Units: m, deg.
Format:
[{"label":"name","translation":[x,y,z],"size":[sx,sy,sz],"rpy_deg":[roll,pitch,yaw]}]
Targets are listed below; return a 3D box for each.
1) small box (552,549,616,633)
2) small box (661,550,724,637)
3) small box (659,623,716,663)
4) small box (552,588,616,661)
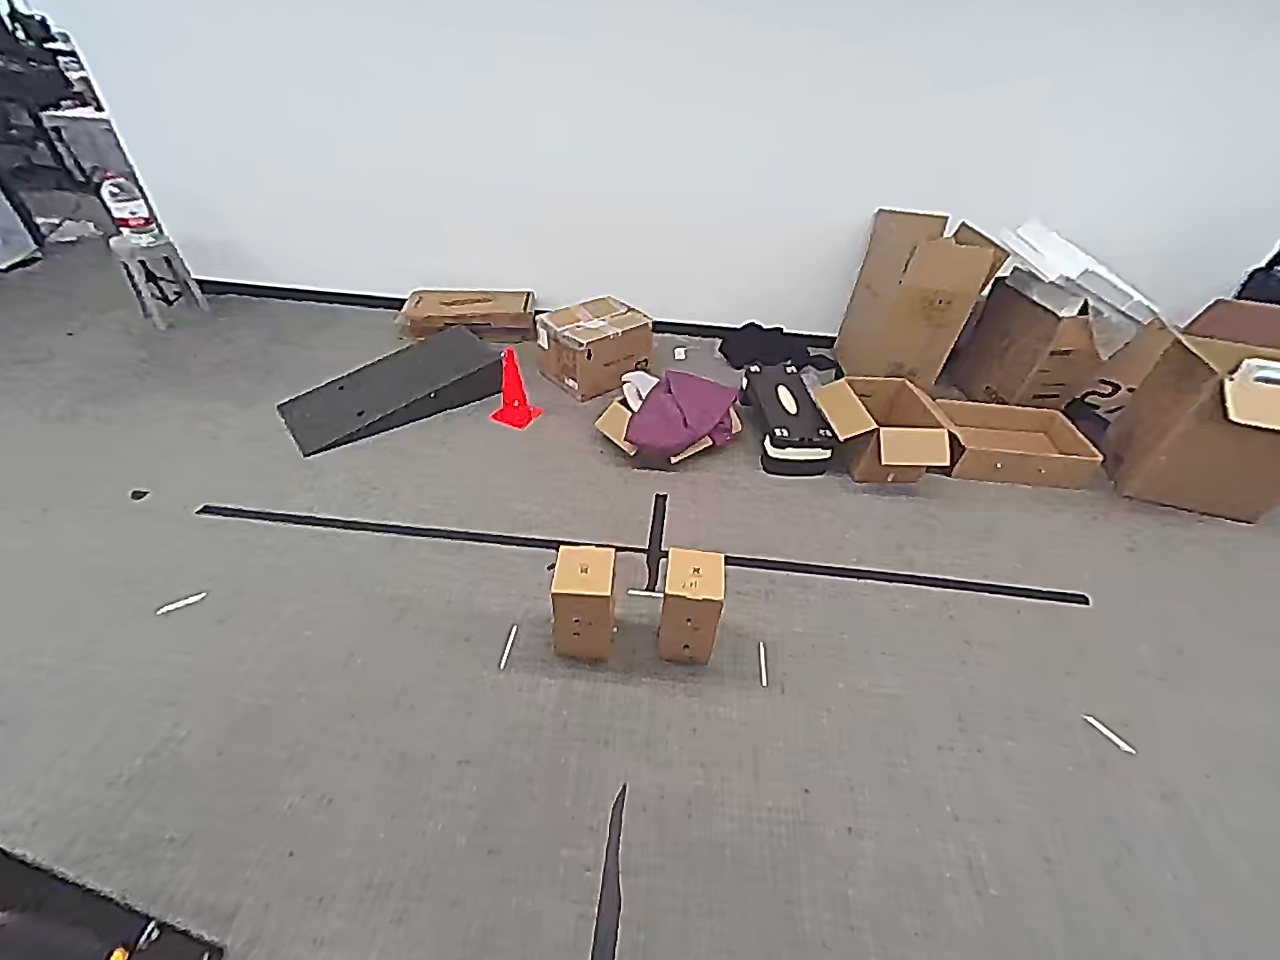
[{"label":"small box","translation":[-0.159,0.325,1.585],"size":[0.168,0.176,0.179],"rpy_deg":[2,41,0]},{"label":"small box","translation":[0.155,0.333,1.597],"size":[0.168,0.176,0.179],"rpy_deg":[6,40,4]},{"label":"small box","translation":[0.150,0.456,1.709],"size":[0.168,0.176,0.179],"rpy_deg":[6,41,2]},{"label":"small box","translation":[-0.170,0.447,1.692],"size":[0.179,0.176,0.168],"rpy_deg":[5,40,1]}]
